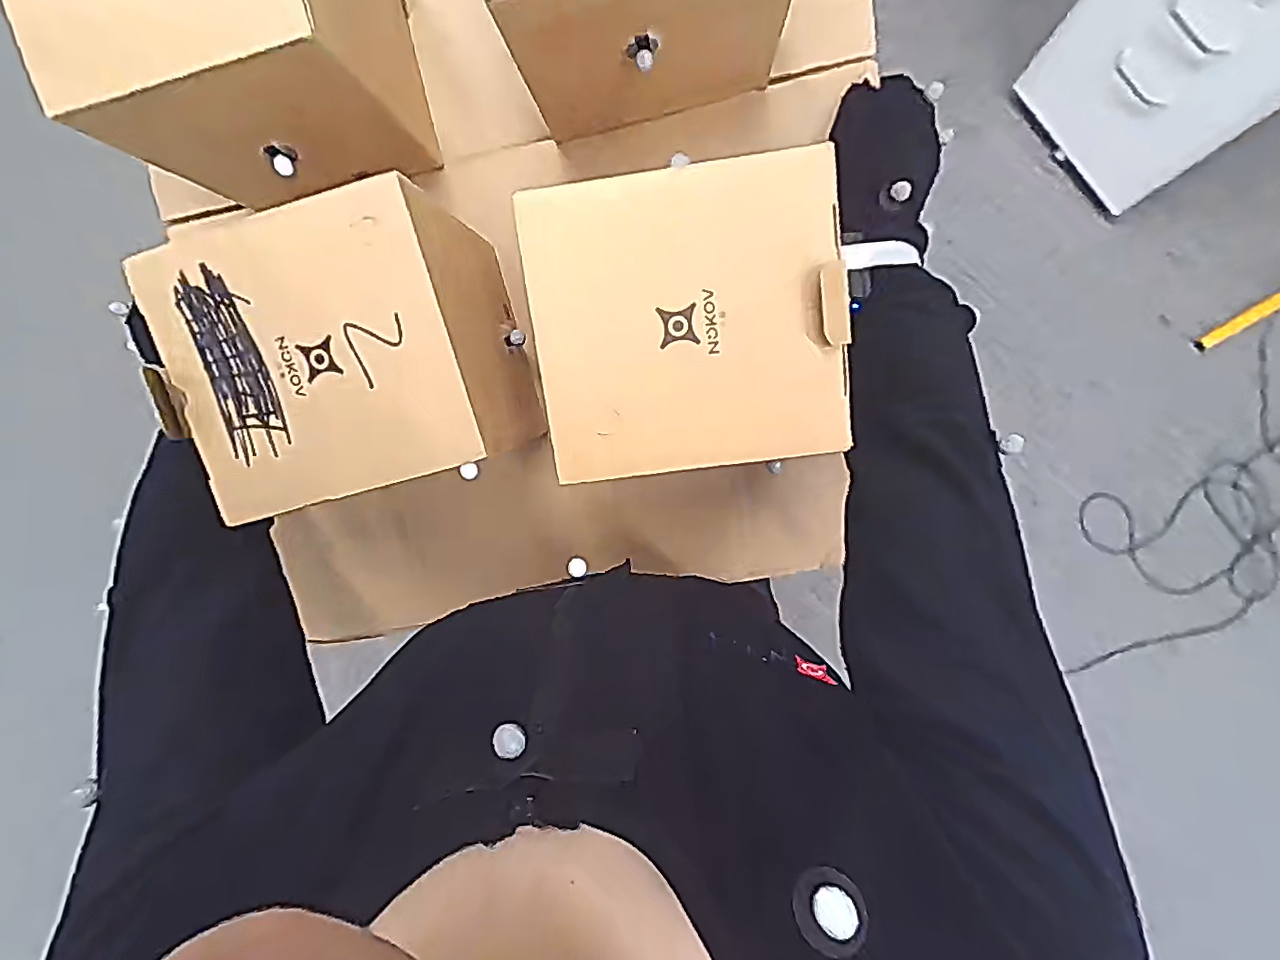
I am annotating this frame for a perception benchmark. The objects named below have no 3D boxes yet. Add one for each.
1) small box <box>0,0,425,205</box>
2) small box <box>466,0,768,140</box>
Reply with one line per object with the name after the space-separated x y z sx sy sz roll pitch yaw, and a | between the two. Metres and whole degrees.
-0.273 -0.310 0.367 0.168 0.176 0.179 -12 97 5 | small box
-0.017 -0.354 0.342 0.179 0.176 0.168 -11 98 6 | small box
